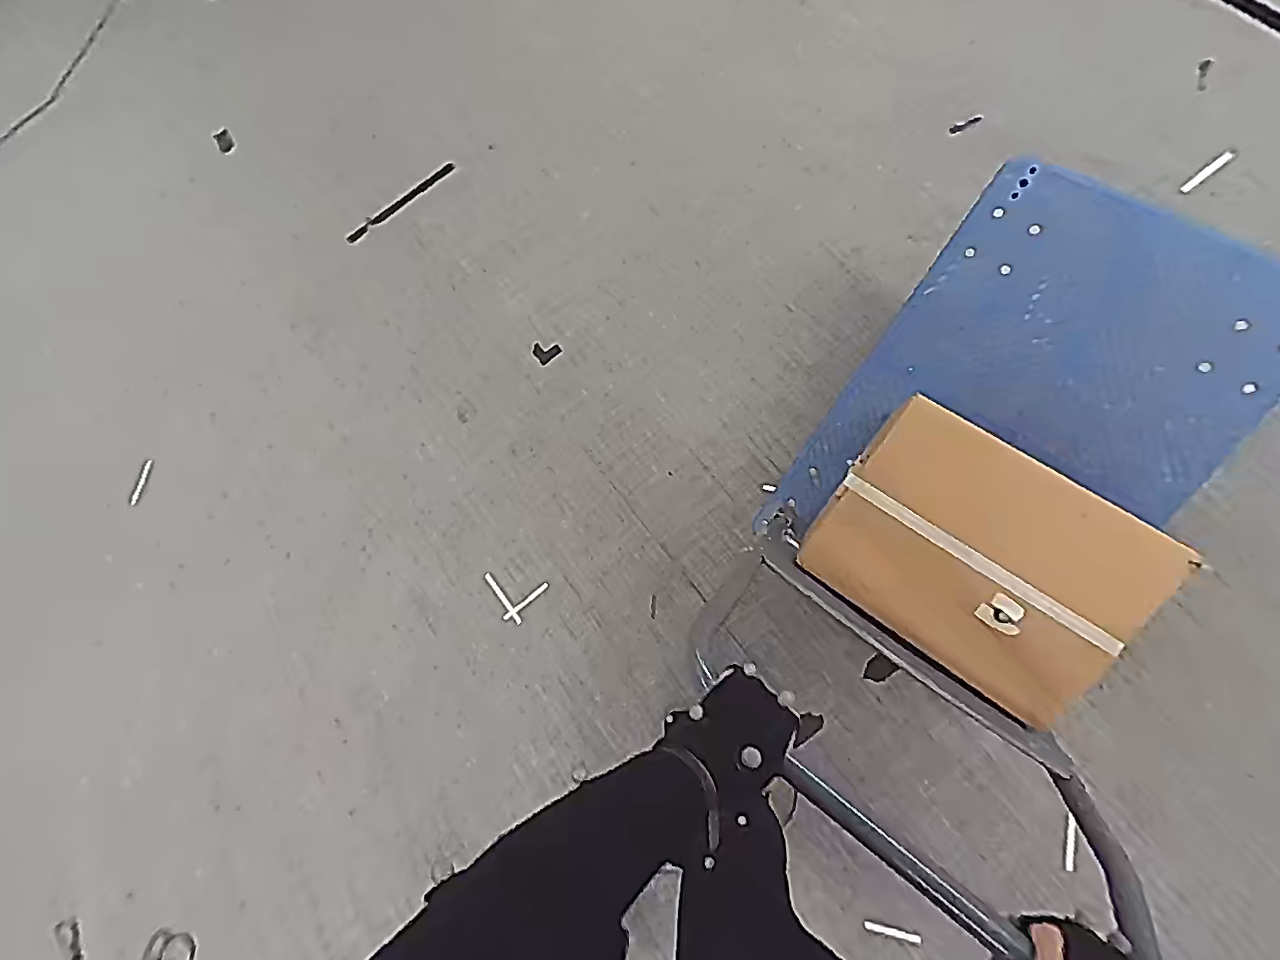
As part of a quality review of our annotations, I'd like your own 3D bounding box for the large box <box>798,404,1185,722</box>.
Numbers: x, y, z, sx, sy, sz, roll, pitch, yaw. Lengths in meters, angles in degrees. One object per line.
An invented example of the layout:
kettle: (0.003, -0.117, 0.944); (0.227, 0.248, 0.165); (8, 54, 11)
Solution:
large box: (0.530, 0.110, 0.931); (0.408, 0.320, 0.320); (35, 104, 14)
